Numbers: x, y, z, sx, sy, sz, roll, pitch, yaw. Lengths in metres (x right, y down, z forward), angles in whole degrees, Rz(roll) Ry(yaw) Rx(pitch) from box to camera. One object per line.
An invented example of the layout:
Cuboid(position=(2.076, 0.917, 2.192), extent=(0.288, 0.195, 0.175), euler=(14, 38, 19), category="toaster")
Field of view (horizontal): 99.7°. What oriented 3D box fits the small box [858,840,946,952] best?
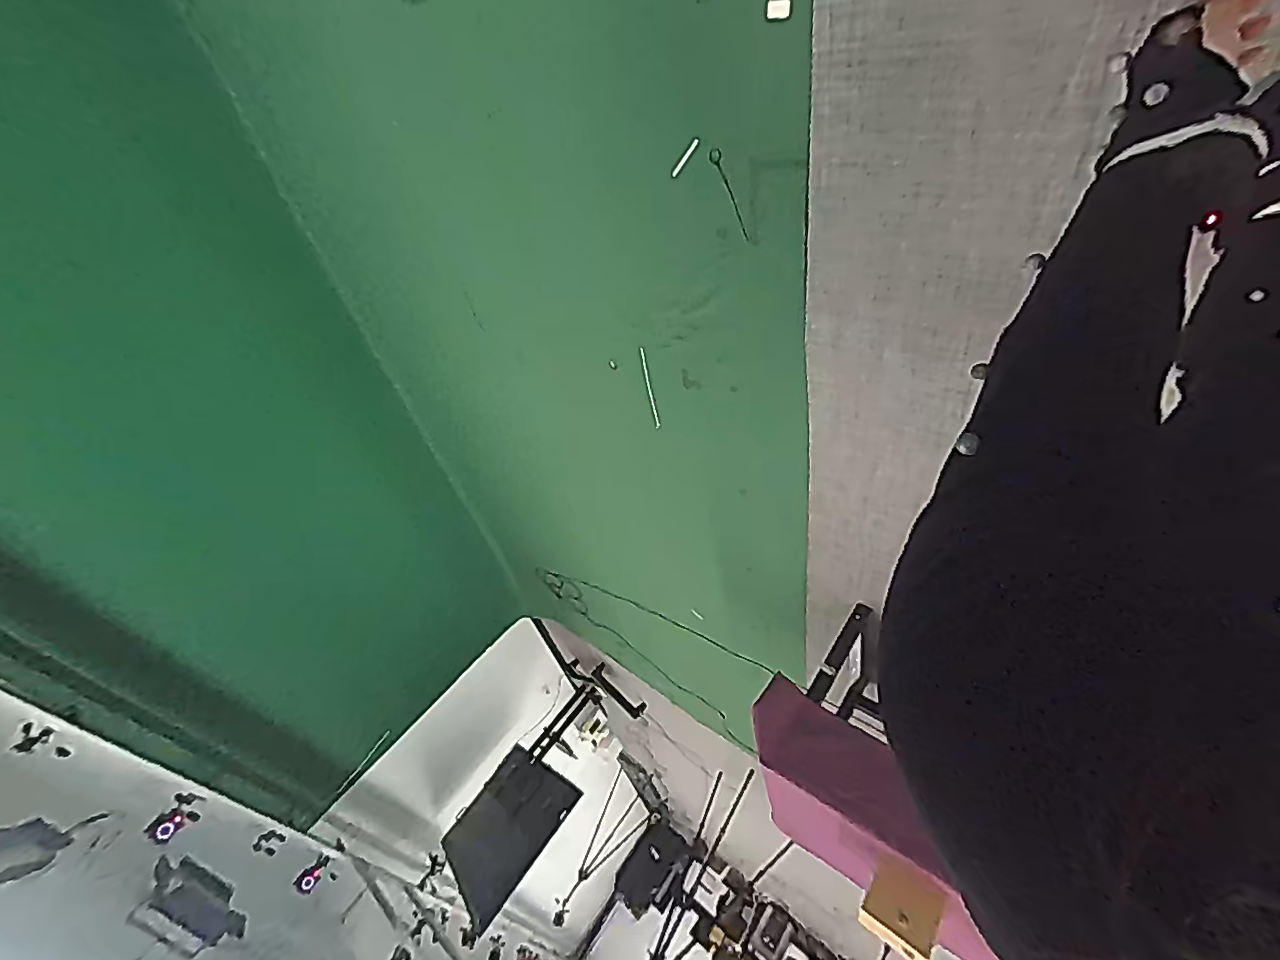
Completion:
Cuboid(position=(0.737, 1.166, 1.523), extent=(0.179, 0.176, 0.168), euler=(22, 144, 36), category="small box")
